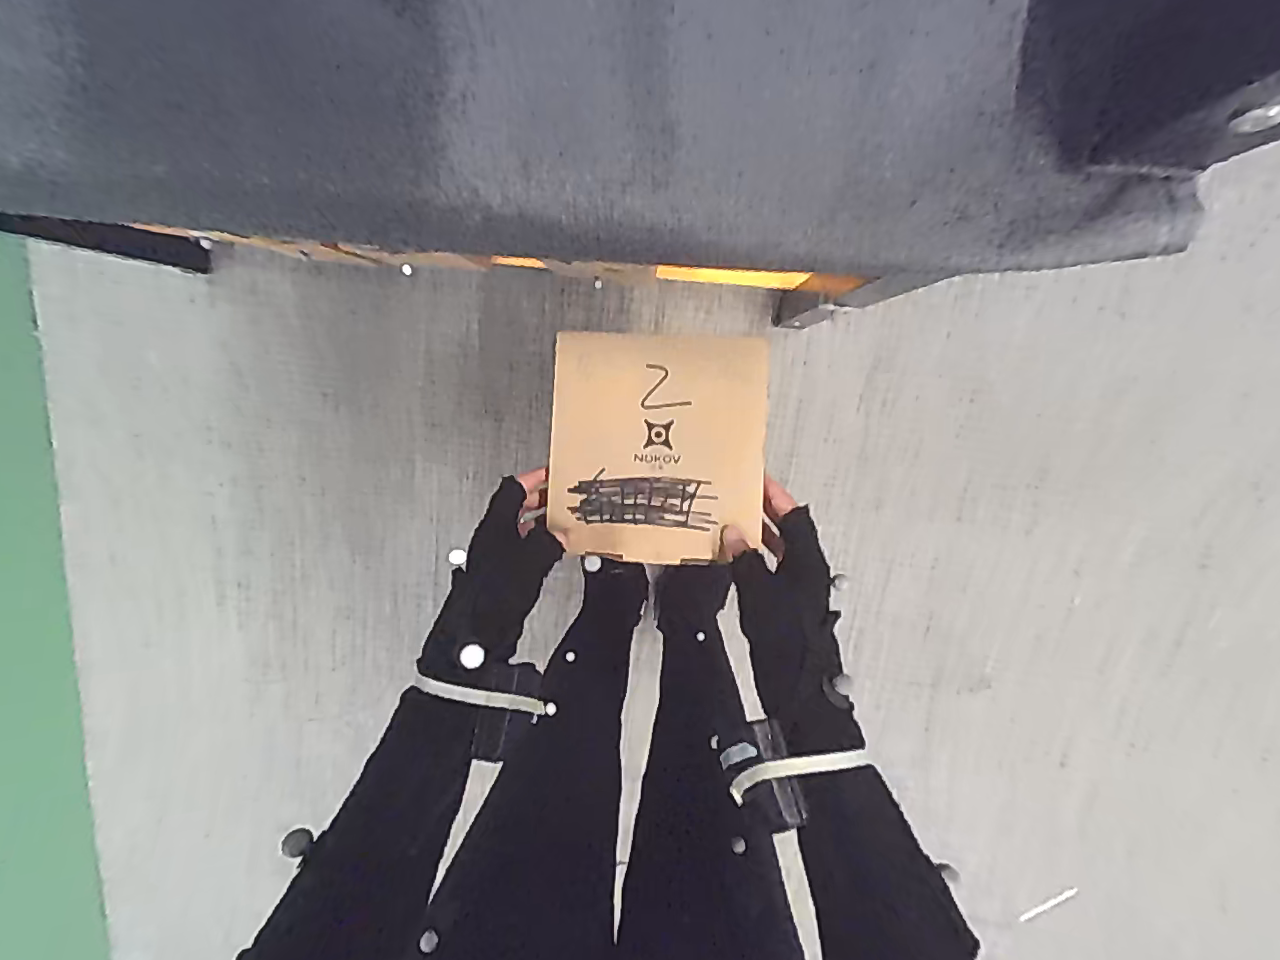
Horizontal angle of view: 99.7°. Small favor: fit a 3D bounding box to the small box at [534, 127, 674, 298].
[{"bbox_3d":[-0.046,-0.380,0.797,0.168,0.176,0.179,11,104,3],"label":"small box"}]
